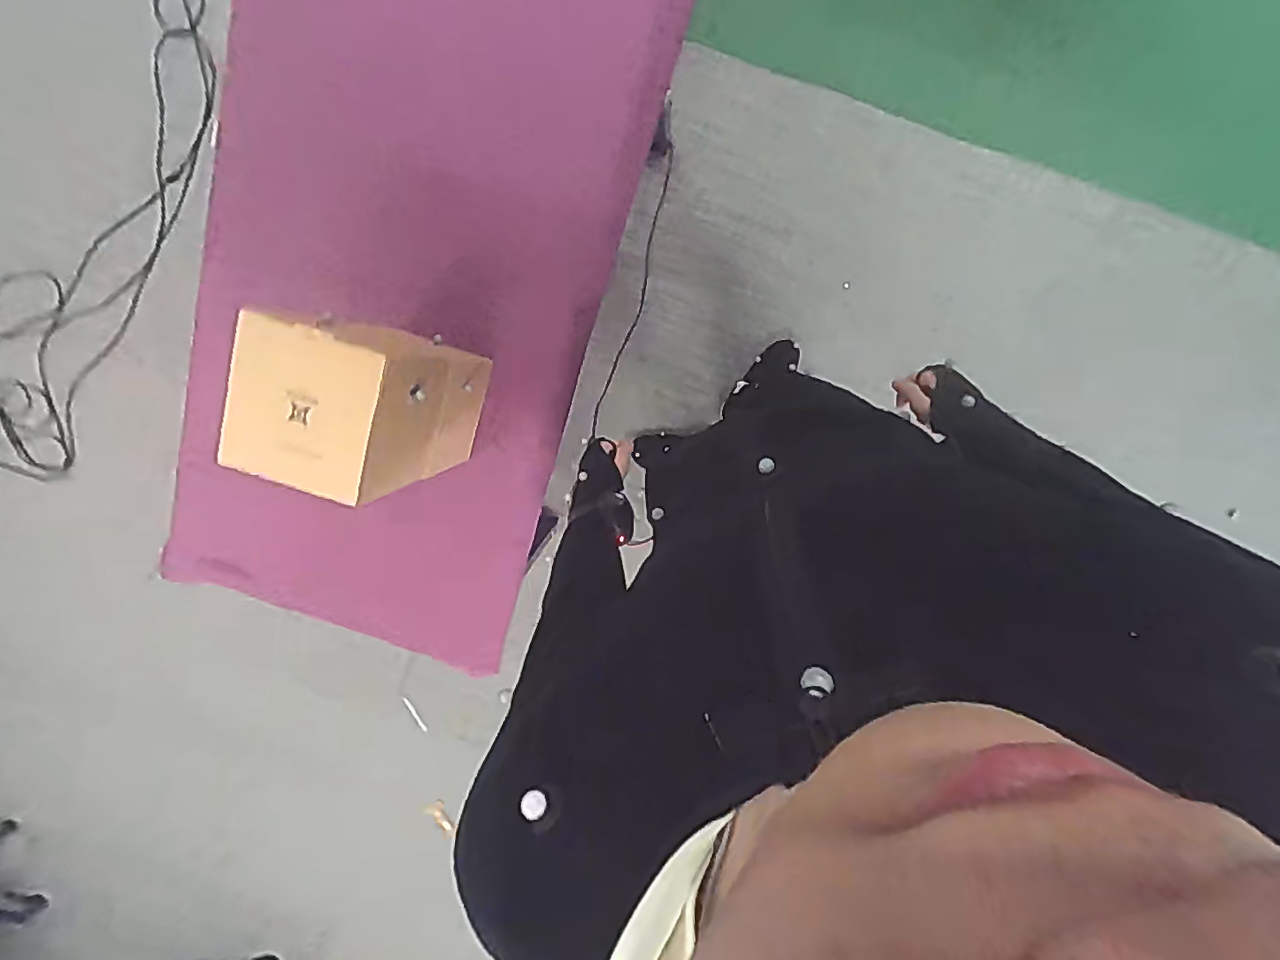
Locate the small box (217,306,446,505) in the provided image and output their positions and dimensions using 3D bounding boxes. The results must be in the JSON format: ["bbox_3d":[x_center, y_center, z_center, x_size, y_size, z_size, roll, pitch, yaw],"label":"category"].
[{"bbox_3d":[-0.359,-0.093,0.660,0.168,0.176,0.179,19,103,1],"label":"small box"}]
